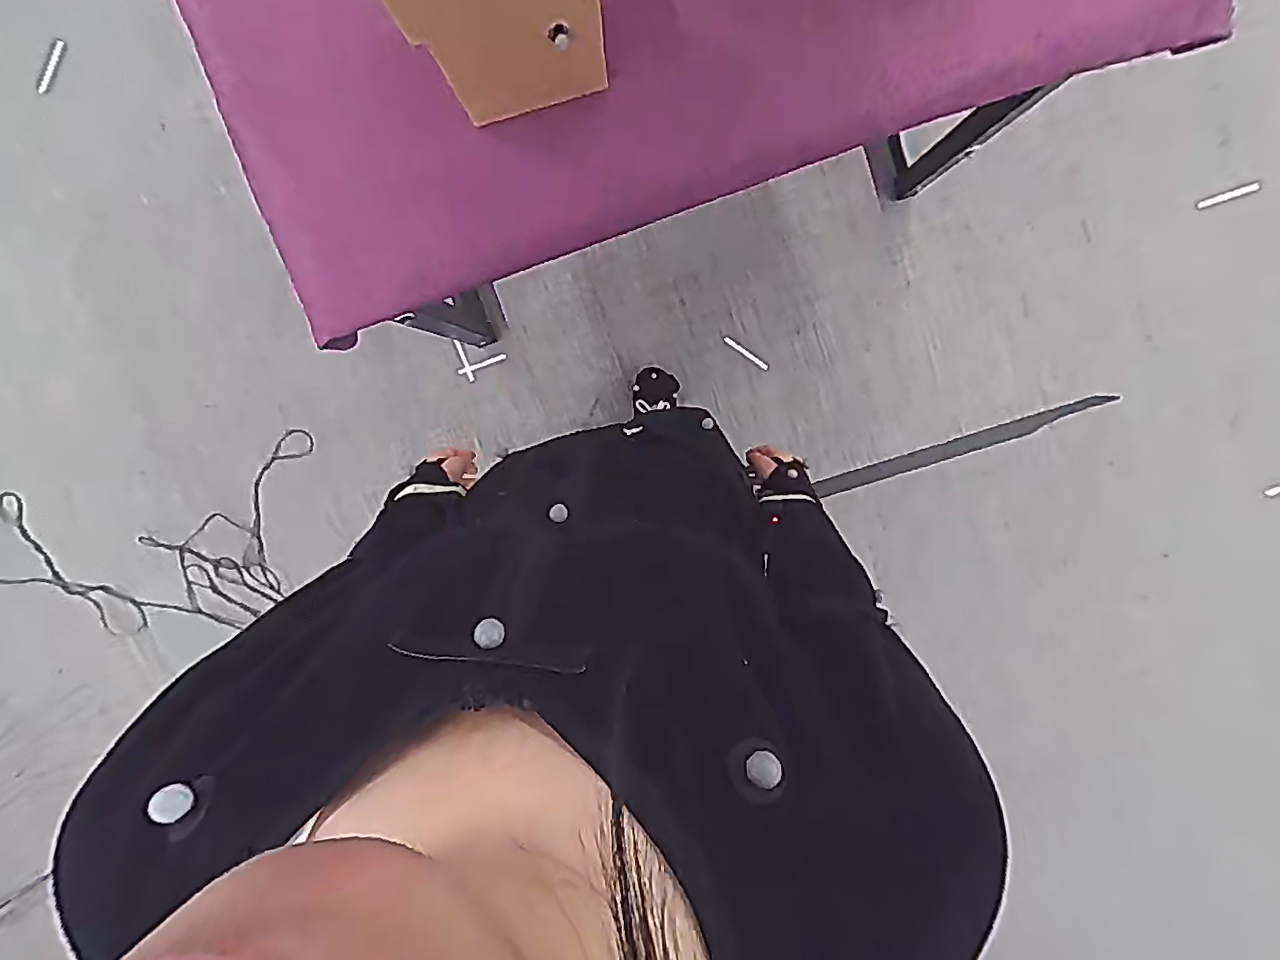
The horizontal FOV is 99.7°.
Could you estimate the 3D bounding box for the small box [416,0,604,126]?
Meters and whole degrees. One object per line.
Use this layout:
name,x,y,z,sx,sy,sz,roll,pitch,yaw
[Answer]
small box,-0.140,-0.527,0.584,0.179,0.176,0.168,-15,97,3
